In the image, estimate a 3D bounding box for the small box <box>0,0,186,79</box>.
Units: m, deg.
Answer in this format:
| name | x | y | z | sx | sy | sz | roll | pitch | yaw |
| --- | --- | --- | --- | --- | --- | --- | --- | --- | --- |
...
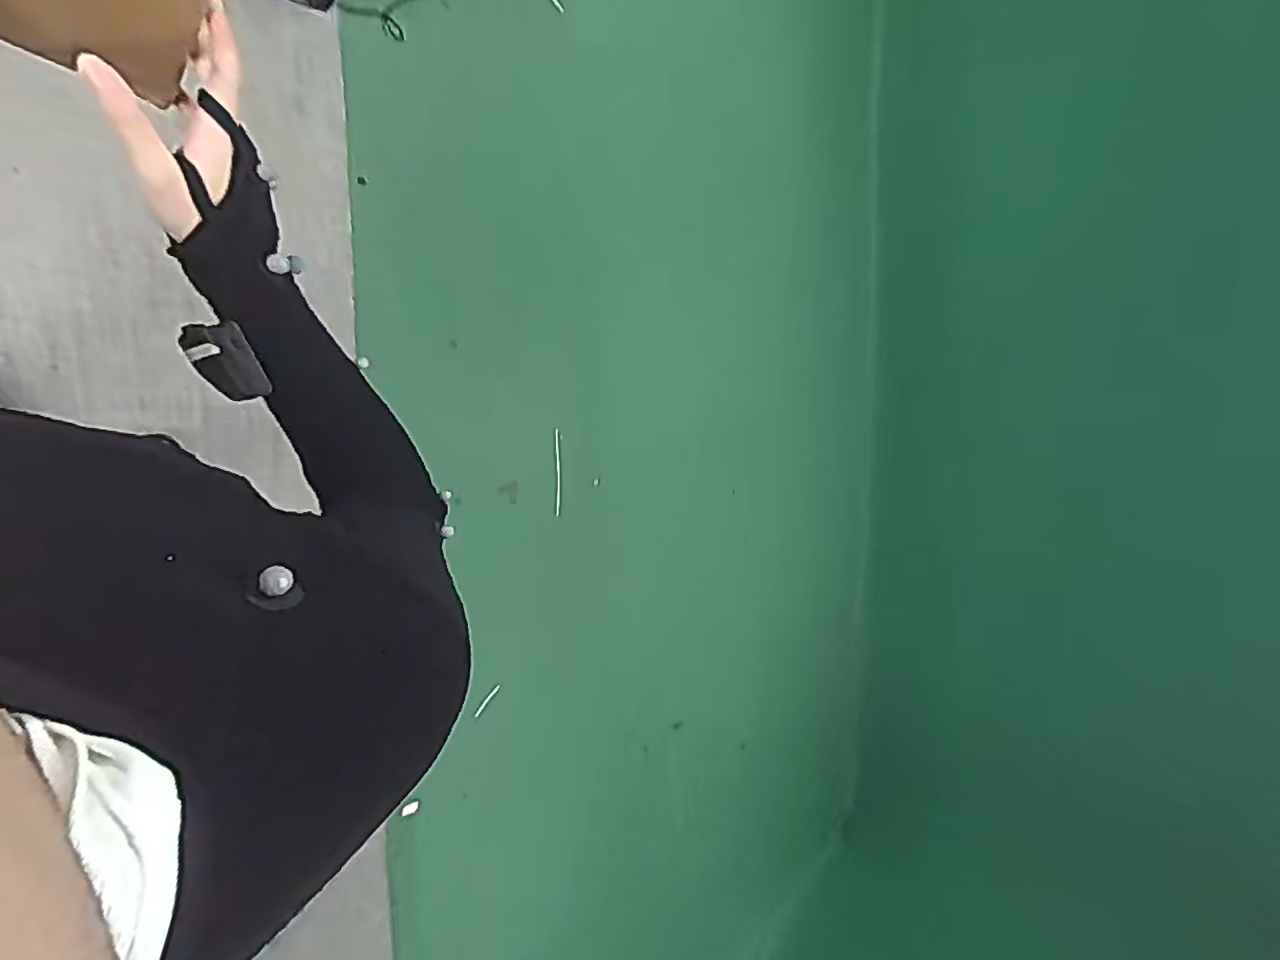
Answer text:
| name | x | y | z | sx | sy | sz | roll | pitch | yaw |
| --- | --- | --- | --- | --- | --- | --- | --- | --- | --- |
| small box | -0.361 | -0.380 | 0.301 | 0.179 | 0.176 | 0.168 | 5 | 86 | -48 |
